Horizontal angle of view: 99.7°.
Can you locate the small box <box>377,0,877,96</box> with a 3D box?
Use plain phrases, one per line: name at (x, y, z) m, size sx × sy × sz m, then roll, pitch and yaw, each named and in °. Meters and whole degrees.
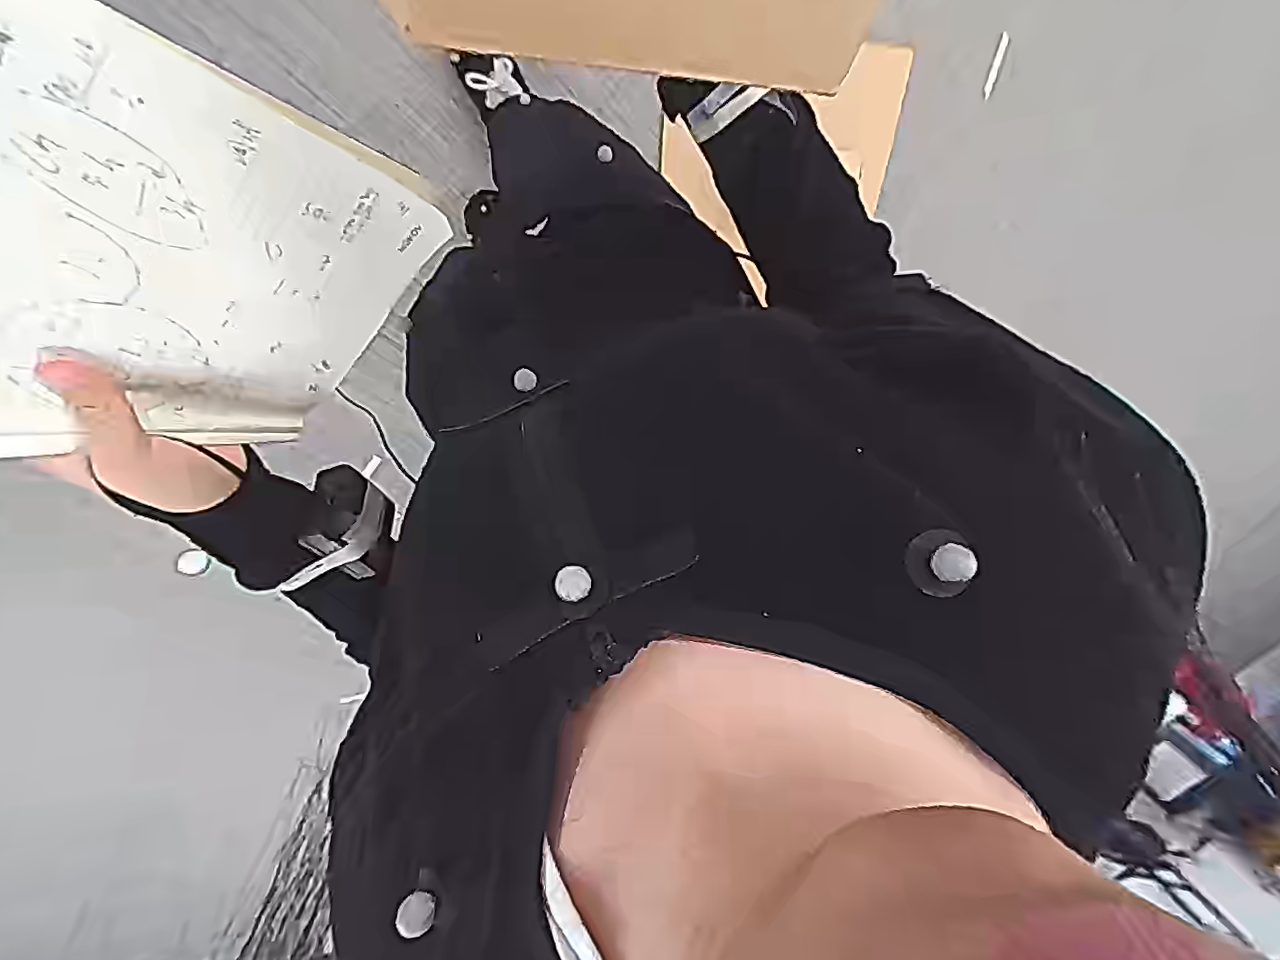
small box at (-0.010, -0.249, 0.155) m, size 0.168 × 0.176 × 0.179 m, roll -16°, pitch 148°, yaw -26°
